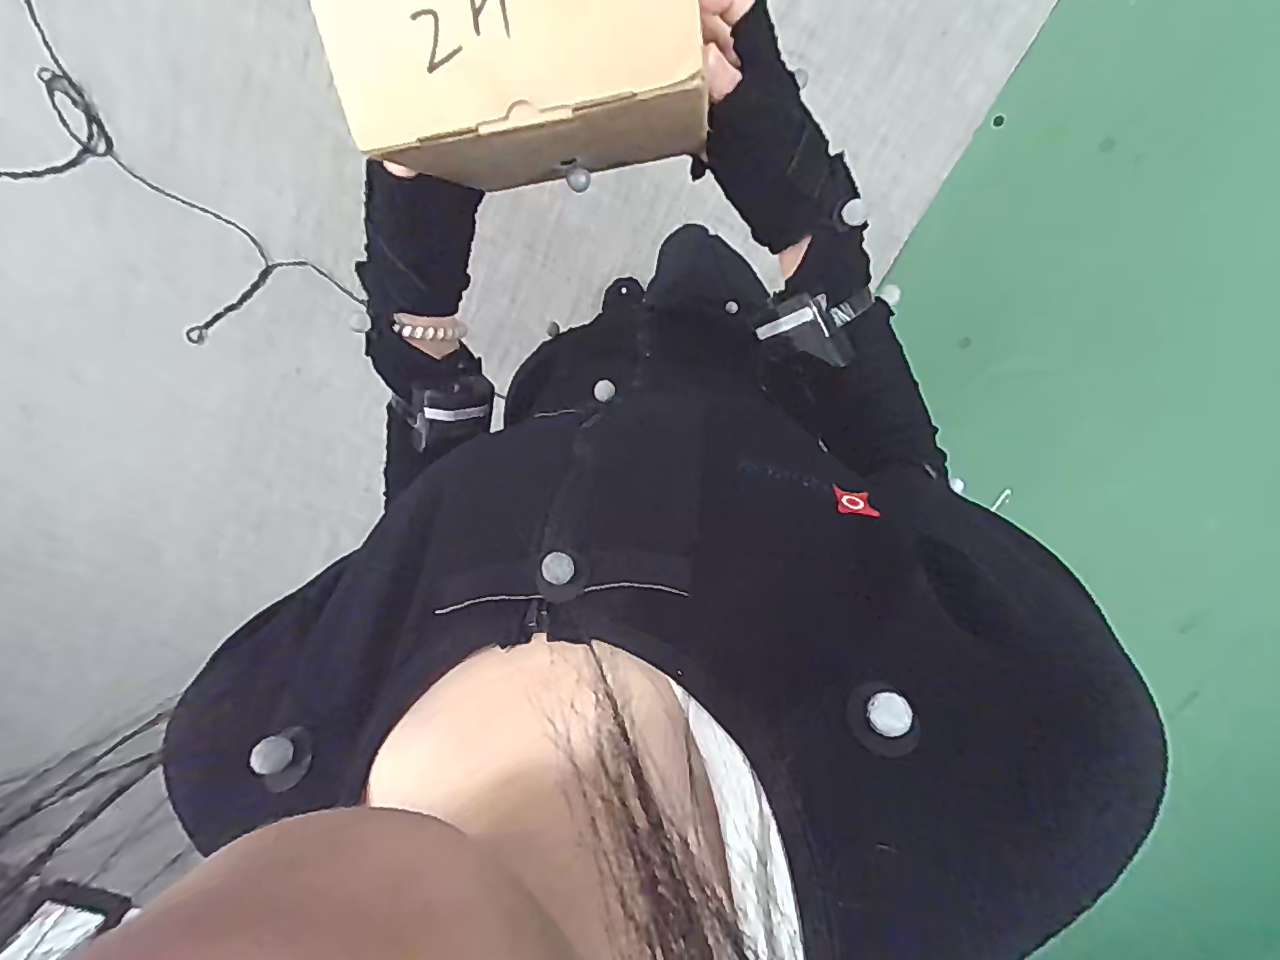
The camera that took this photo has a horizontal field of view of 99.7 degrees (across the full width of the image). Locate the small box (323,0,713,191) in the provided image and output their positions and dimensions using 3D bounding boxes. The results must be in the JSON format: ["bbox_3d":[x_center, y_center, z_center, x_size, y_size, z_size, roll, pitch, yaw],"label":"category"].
[{"bbox_3d":[-0.053,-0.272,0.287,0.168,0.176,0.179,-6,112,10],"label":"small box"}]
